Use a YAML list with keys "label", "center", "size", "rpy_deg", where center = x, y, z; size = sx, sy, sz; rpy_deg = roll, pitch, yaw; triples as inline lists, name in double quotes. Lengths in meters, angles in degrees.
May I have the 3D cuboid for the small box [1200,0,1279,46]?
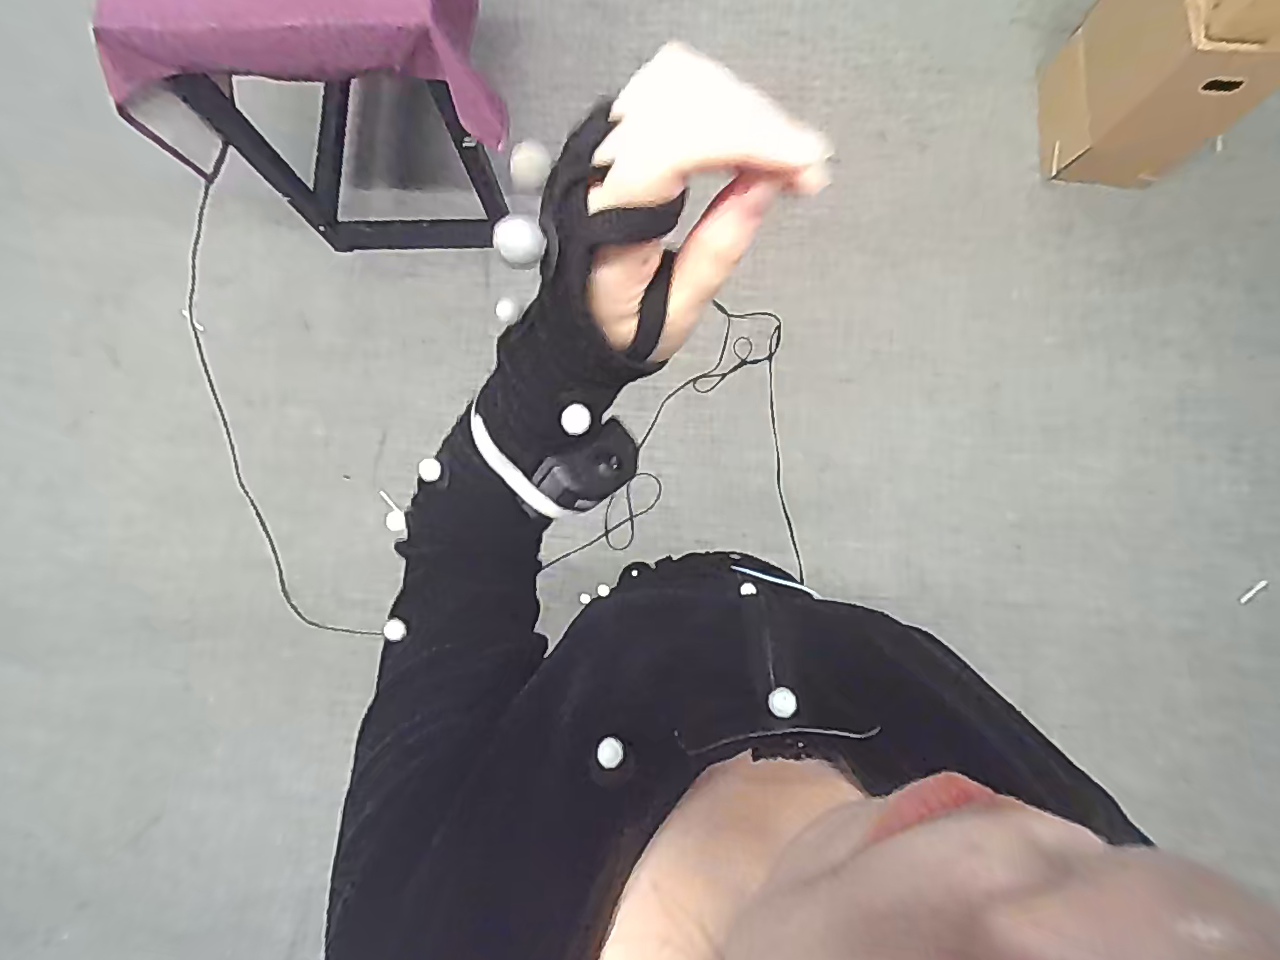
- label: "small box"
  center: [1.384, -1.089, 1.171]
  size: [0.179, 0.176, 0.168]
  rpy_deg: [5, 80, 1]
